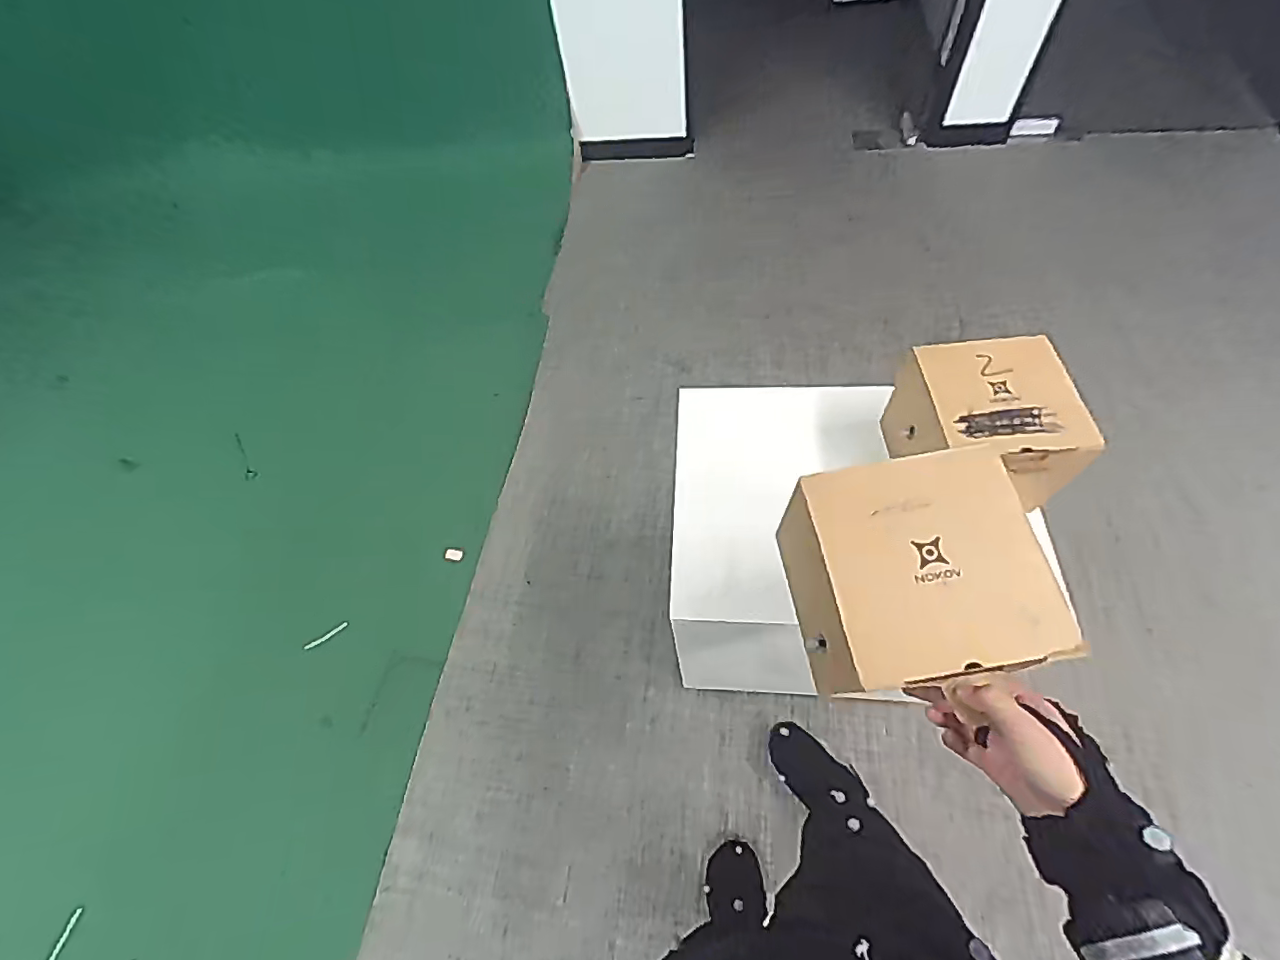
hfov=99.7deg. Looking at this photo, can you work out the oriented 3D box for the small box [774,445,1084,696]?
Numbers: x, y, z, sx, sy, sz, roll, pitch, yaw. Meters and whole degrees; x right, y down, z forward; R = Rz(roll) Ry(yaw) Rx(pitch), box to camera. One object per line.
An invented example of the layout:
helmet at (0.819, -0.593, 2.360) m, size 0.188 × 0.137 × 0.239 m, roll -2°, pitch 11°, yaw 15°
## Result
small box at (0.232, 0.092, 0.493) m, size 0.168 × 0.176 × 0.179 m, roll -10°, pitch 67°, yaw 0°
